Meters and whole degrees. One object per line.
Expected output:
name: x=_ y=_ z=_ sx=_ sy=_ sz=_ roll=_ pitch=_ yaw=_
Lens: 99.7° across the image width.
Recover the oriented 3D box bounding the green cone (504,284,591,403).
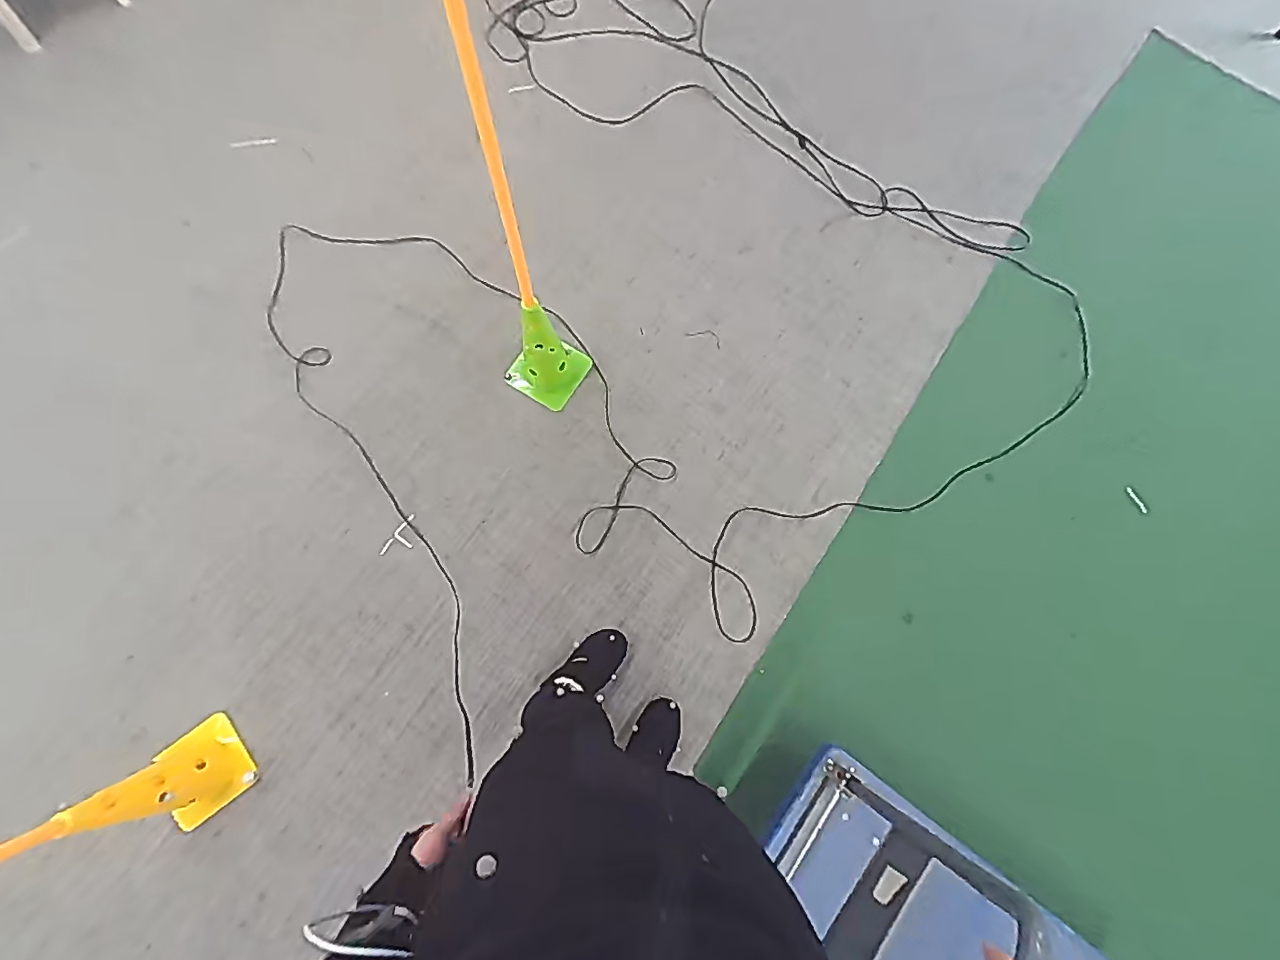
green cone: x=-0.260 y=-0.387 z=1.417 sx=0.200 sy=0.368 sz=0.202 roll=31 pitch=76 yaw=5
